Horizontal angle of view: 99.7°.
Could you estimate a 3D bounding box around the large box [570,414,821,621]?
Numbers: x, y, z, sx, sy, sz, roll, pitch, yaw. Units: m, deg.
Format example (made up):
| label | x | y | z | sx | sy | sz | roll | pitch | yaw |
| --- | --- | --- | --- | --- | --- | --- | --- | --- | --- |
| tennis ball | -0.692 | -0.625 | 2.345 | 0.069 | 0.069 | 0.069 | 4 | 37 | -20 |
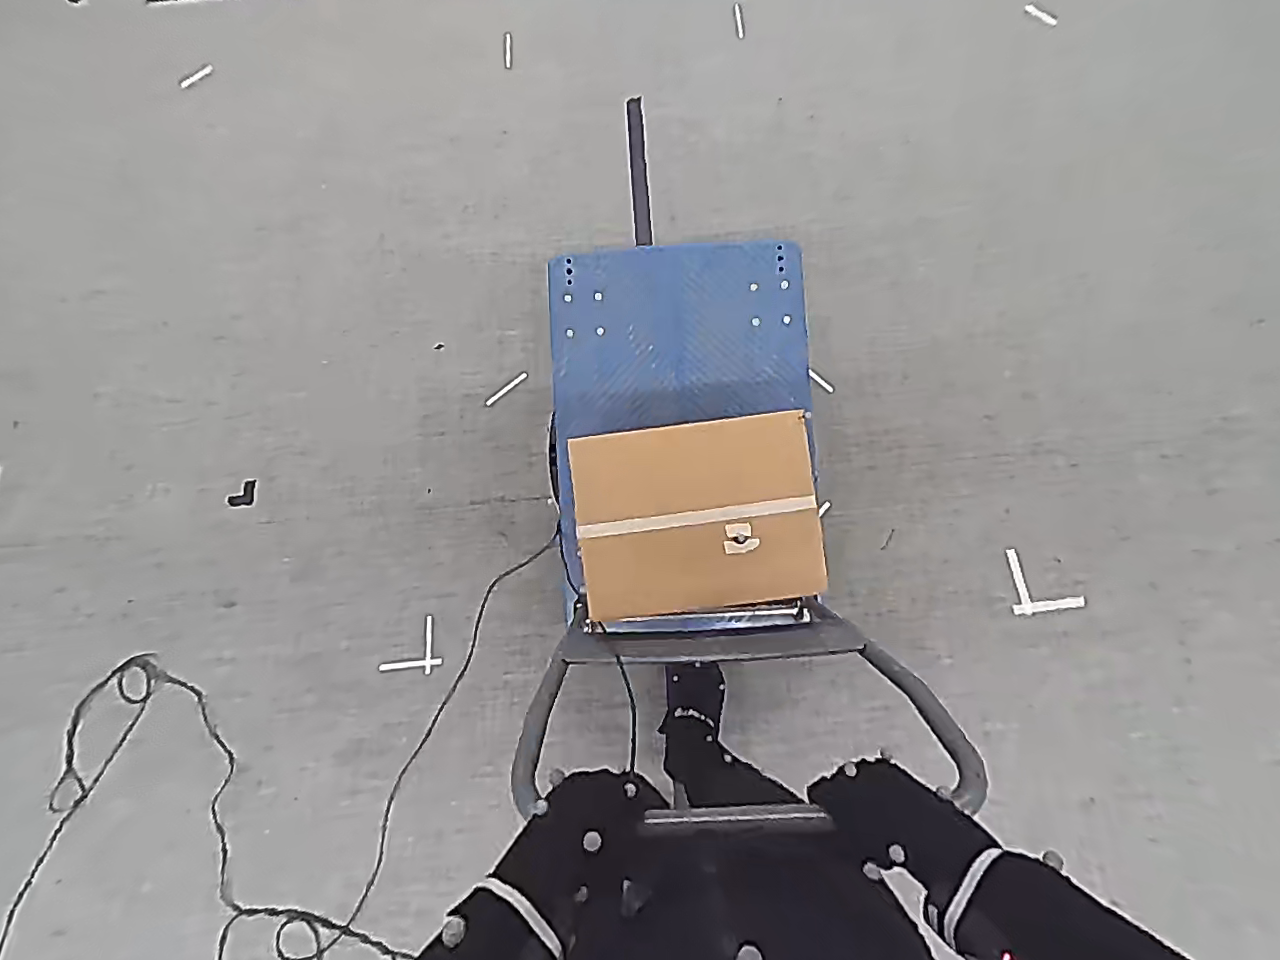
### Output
| label | x | y | z | sx | sy | sz | roll | pitch | yaw |
| --- | --- | --- | --- | --- | --- | --- | --- | --- | --- |
| large box | 0.094 | 0.069 | 1.079 | 0.408 | 0.320 | 0.320 | -8 | 89 | 0 |
